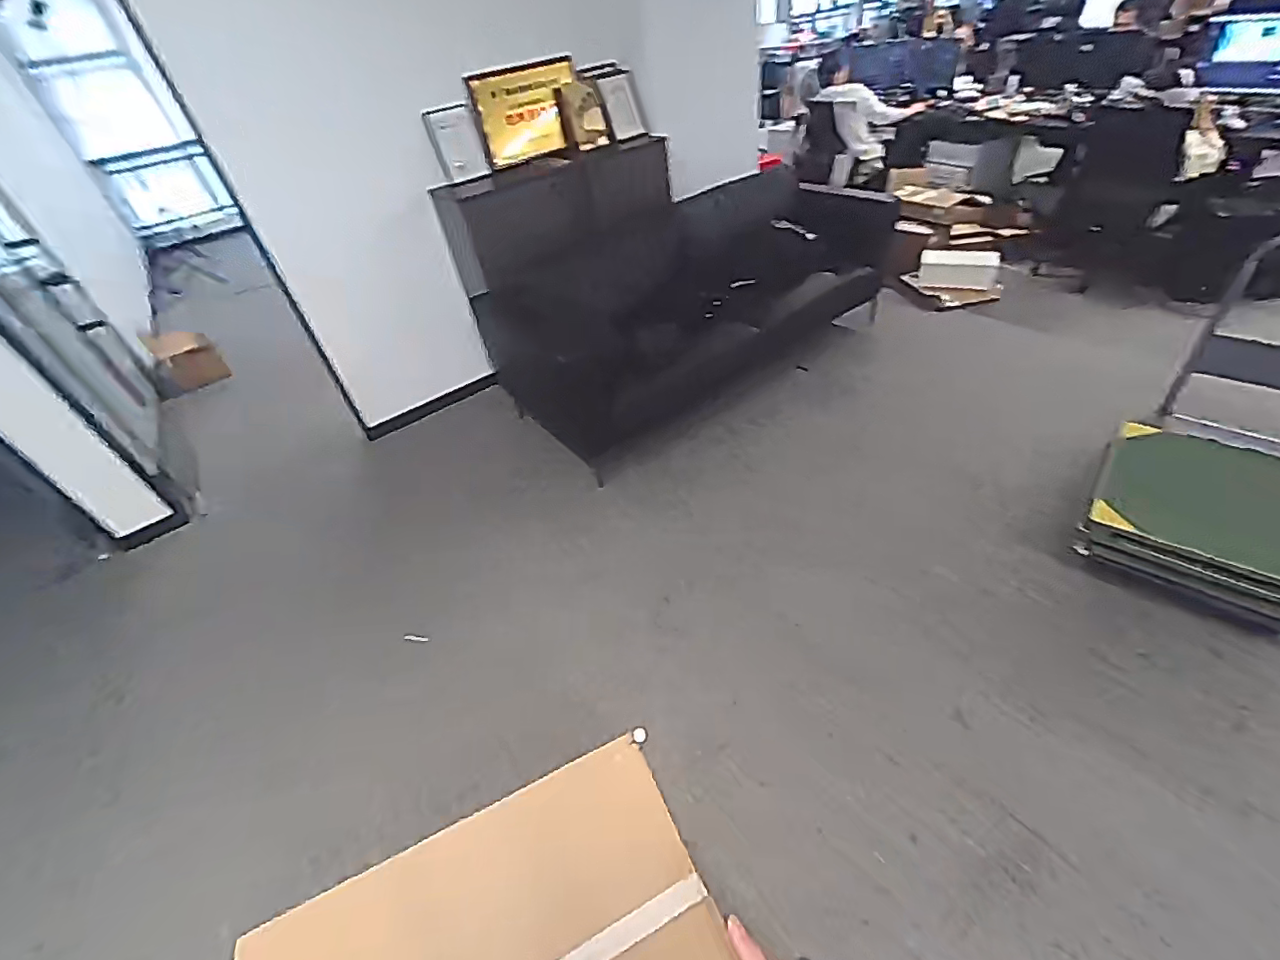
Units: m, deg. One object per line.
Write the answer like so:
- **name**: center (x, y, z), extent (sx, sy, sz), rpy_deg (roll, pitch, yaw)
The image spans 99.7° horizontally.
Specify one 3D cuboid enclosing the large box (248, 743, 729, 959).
- **large box**: center (-0.123, 0.570, 0.571), extent (0.408, 0.320, 0.320), rpy_deg (-22, 51, -19)
